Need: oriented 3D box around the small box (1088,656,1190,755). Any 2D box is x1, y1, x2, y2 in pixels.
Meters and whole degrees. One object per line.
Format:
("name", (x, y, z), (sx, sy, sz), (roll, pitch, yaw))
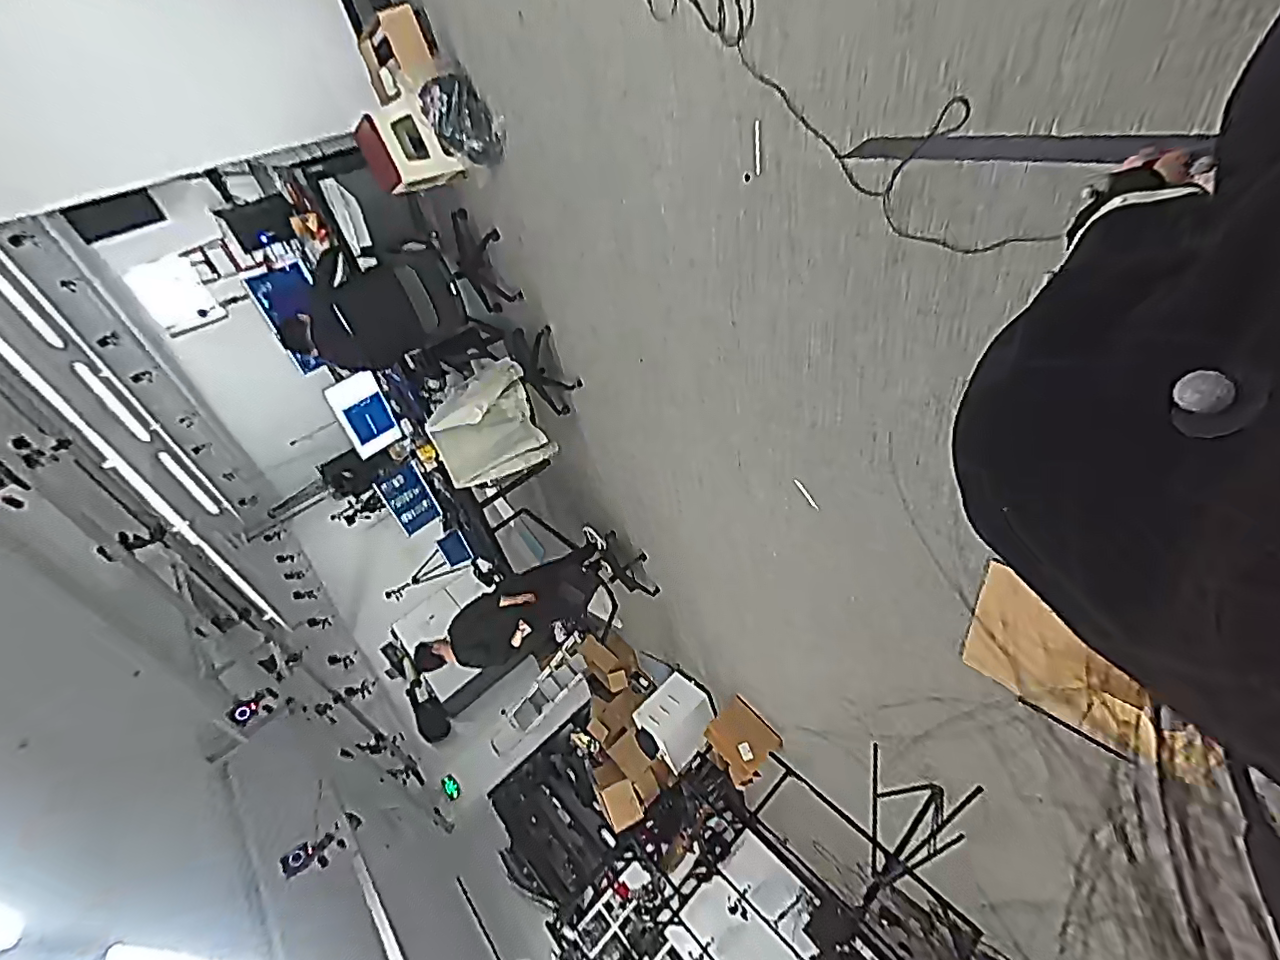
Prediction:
("small box", (1.474, 0.660, 1.597), (0.168, 0.176, 0.179), (28, 144, 43))
